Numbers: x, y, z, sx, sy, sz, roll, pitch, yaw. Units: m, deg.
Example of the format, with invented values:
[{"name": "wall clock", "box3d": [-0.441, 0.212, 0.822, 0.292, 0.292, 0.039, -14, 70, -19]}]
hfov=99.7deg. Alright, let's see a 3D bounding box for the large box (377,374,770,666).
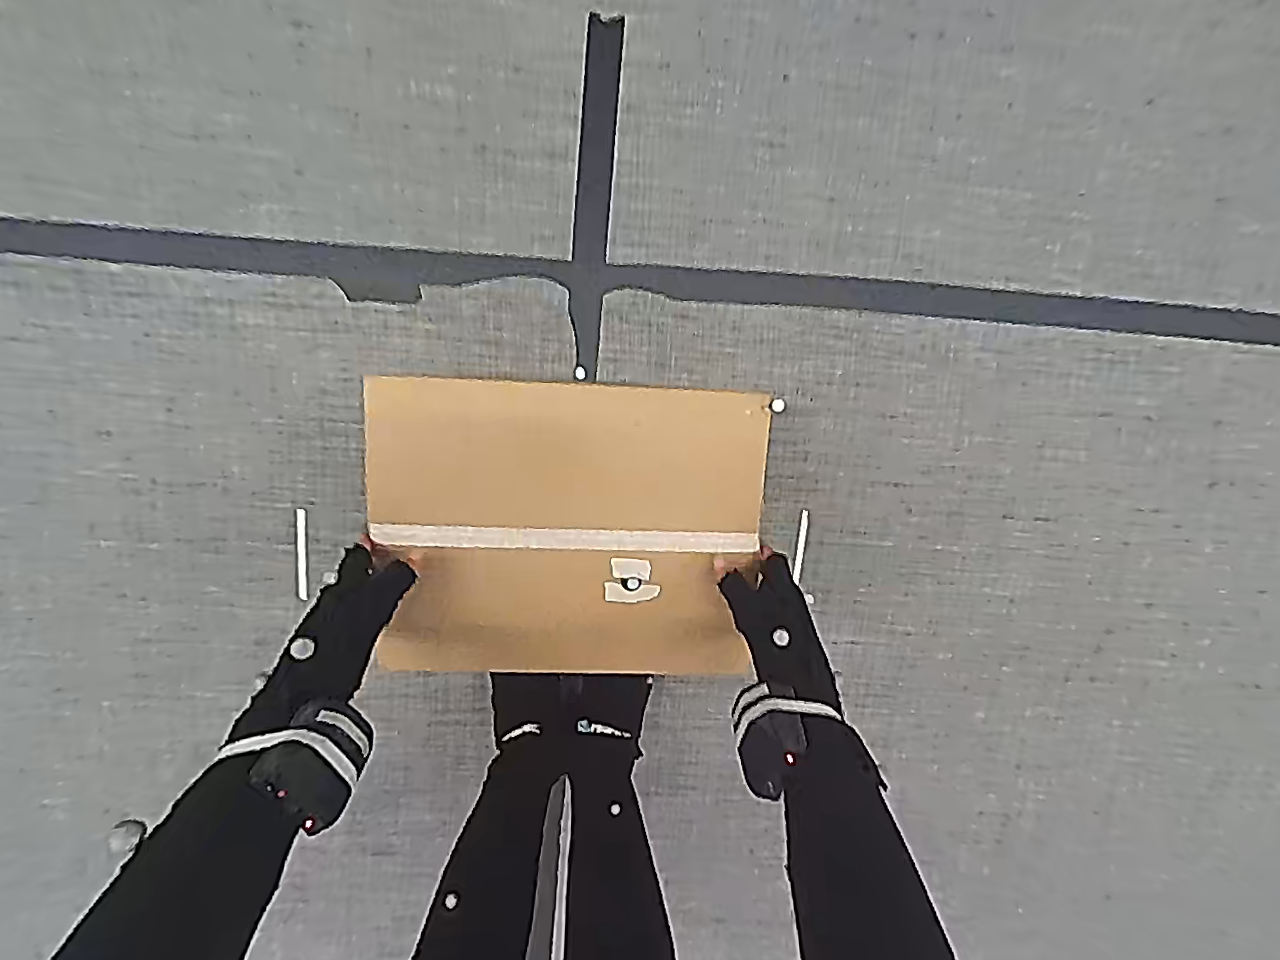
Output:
[{"name": "large box", "box3d": [-0.080, 0.028, 0.717, 0.408, 0.320, 0.320, 2, 101, -5]}]
